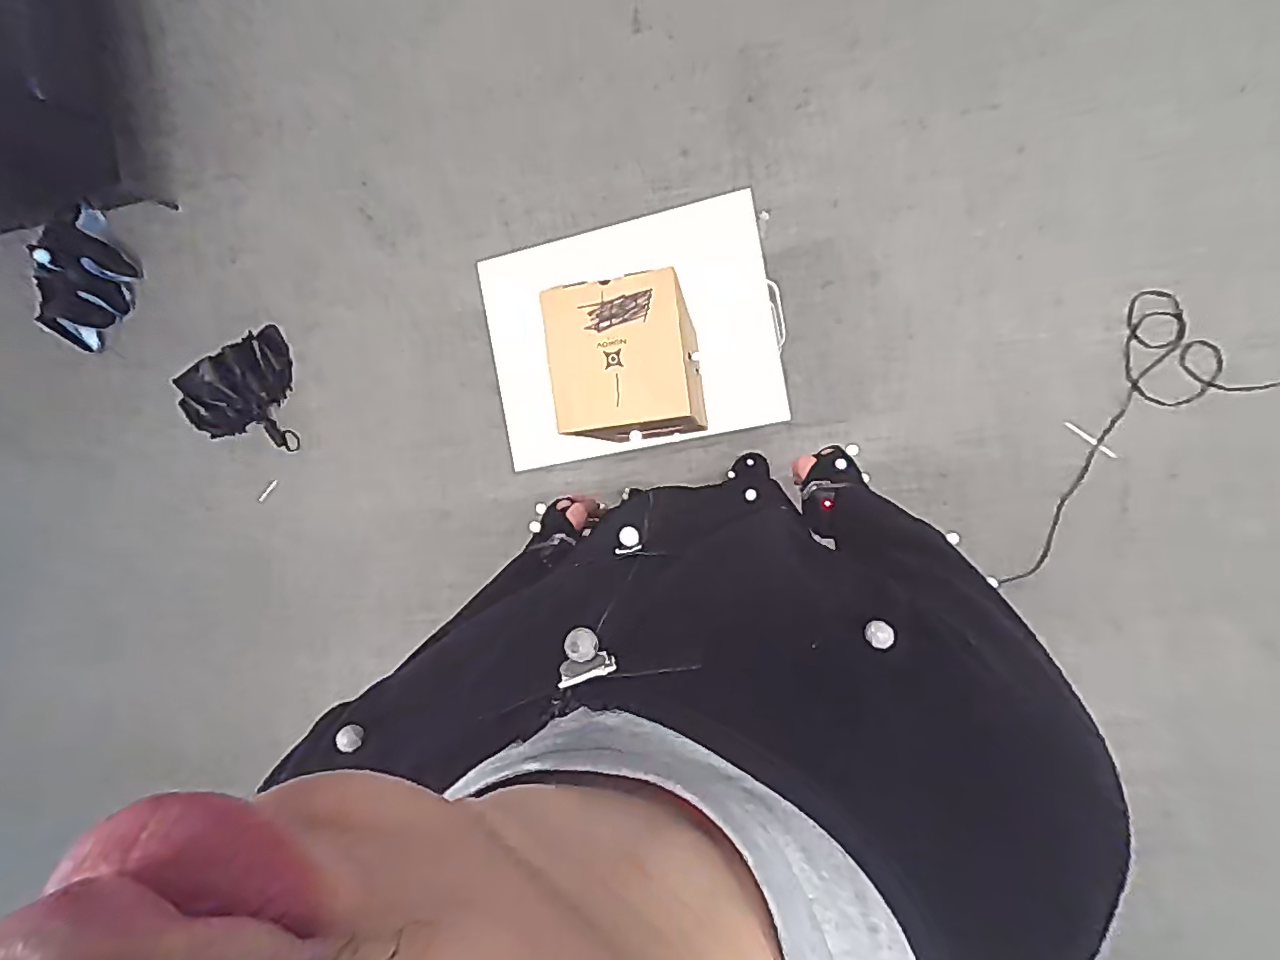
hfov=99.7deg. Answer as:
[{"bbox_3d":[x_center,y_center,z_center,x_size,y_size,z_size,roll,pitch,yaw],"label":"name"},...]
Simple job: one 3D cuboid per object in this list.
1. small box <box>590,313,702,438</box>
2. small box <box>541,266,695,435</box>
[{"bbox_3d":[0.008,-0.162,0.879,0.168,0.176,0.179,-7,90,10],"label":"small box"},{"bbox_3d":[-0.020,-0.157,0.717,0.168,0.176,0.179,-6,92,10],"label":"small box"}]
